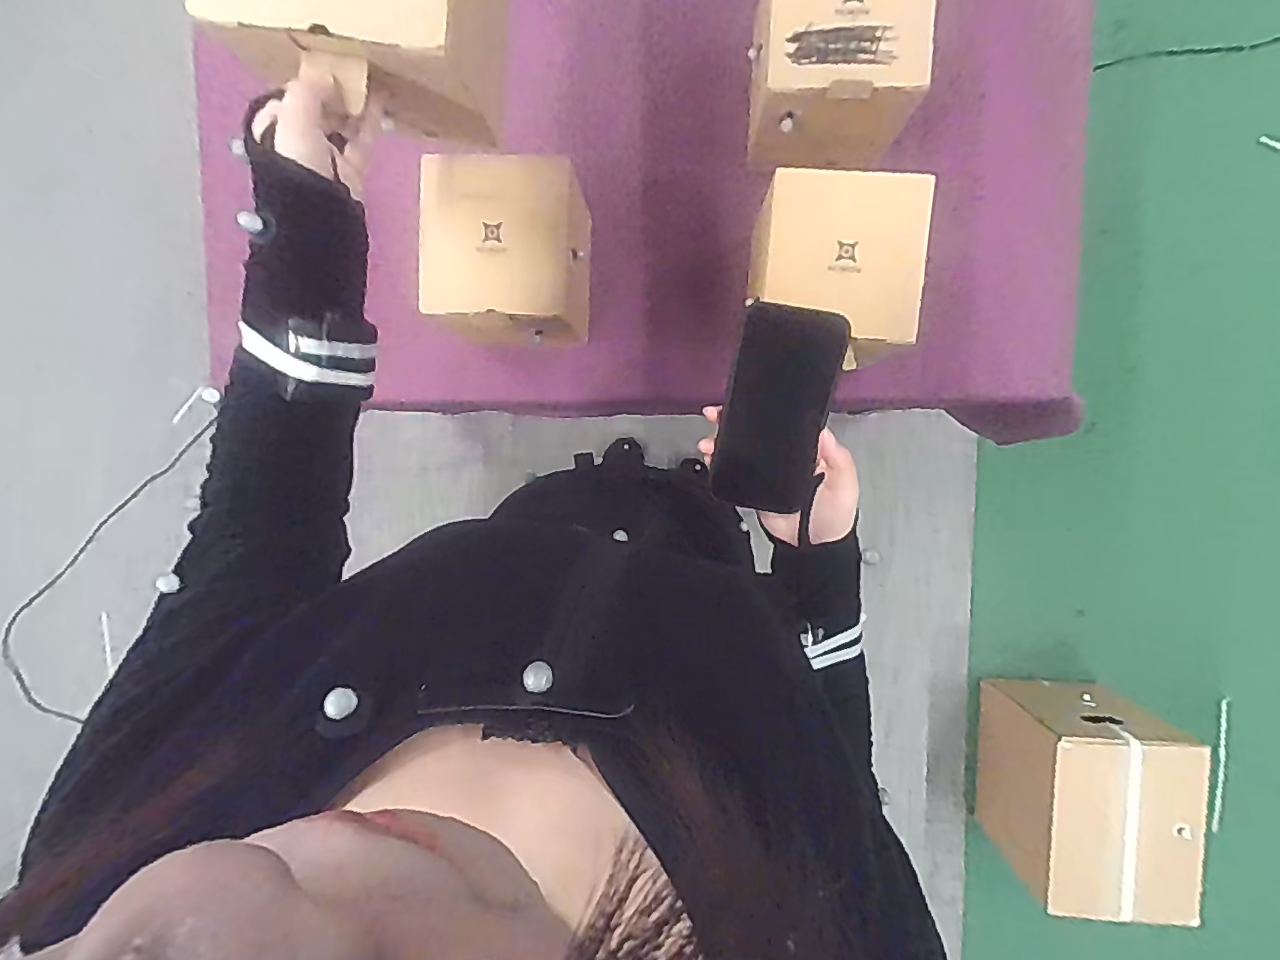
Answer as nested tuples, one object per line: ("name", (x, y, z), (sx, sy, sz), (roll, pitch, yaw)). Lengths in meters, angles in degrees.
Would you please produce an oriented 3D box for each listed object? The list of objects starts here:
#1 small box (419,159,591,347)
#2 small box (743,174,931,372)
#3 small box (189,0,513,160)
("small box", (-0.156, -0.268, 0.677), (0.168, 0.176, 0.179), (3, 93, 3))
("small box", (0.221, -0.235, 0.651), (0.168, 0.176, 0.179), (5, 94, 4))
("small box", (-0.199, -0.380, 0.414), (0.168, 0.176, 0.179), (7, 102, -2))
